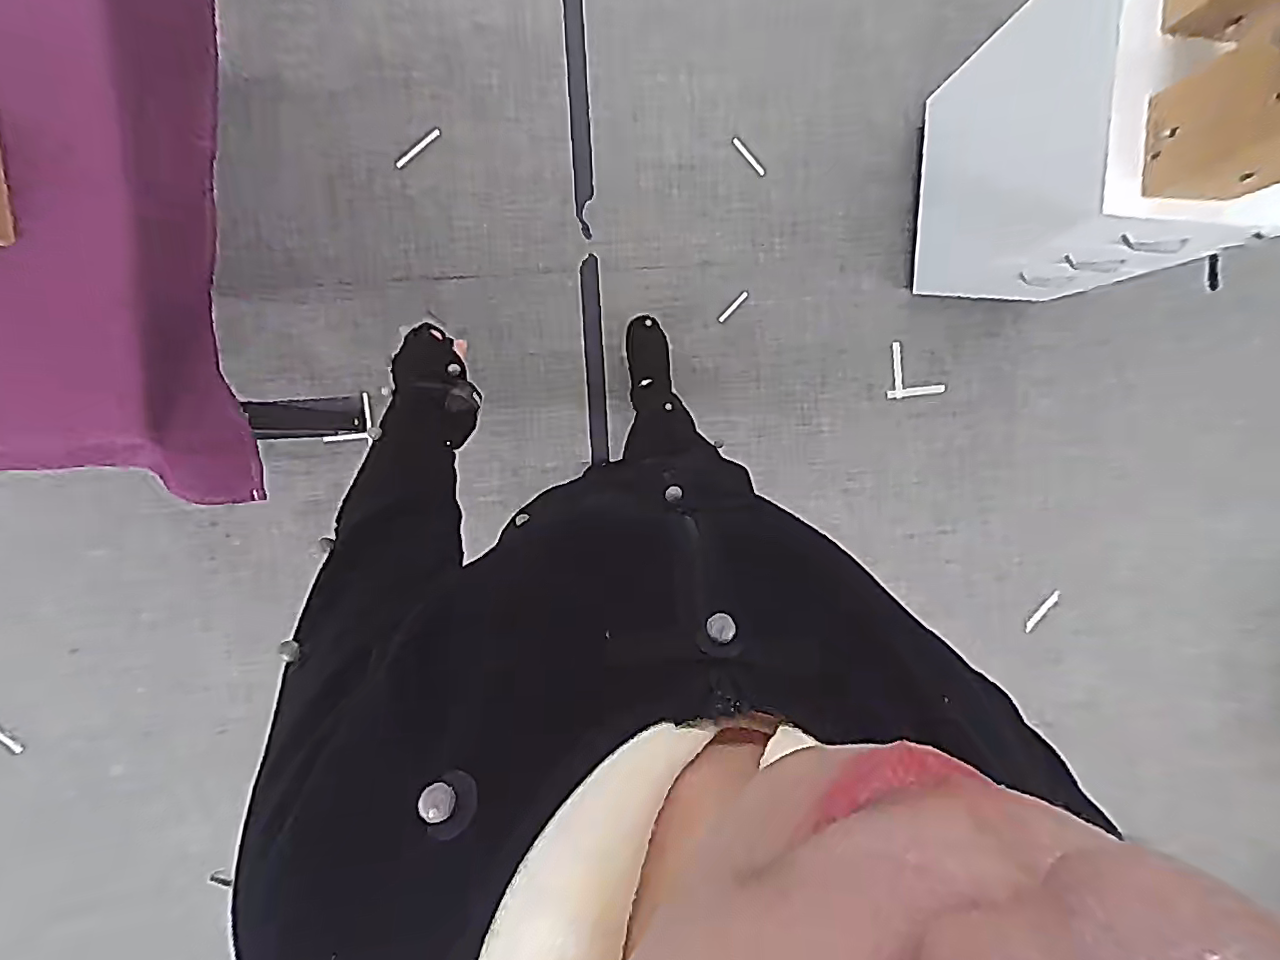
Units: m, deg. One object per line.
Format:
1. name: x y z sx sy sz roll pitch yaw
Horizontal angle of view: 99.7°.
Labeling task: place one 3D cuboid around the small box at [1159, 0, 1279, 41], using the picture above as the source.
1. small box: 0.972 -0.827 0.834 0.179 0.176 0.168 2 95 -7

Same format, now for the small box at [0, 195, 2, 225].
1. small box: -0.850 -0.358 0.571 0.179 0.176 0.168 -4 95 -4
